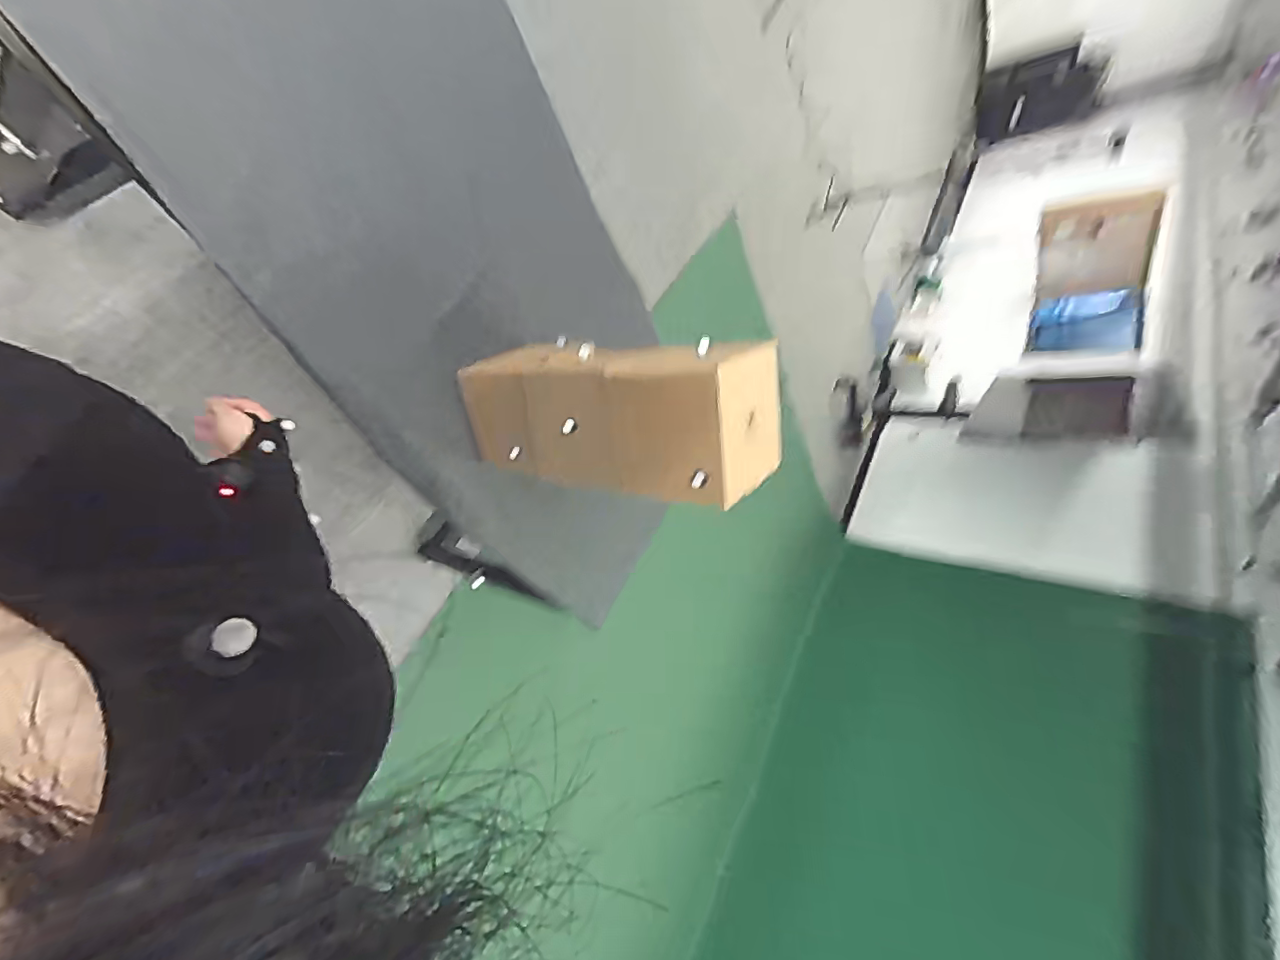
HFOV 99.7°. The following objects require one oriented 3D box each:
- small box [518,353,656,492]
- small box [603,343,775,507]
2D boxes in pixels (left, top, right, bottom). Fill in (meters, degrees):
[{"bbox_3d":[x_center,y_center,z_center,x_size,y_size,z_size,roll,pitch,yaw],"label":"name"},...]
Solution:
[{"bbox_3d":[-0.061,-0.097,0.822,0.168,0.176,0.179,-27,117,-48],"label":"small box"},{"bbox_3d":[0.067,-0.081,0.723,0.168,0.176,0.179,-30,121,-47],"label":"small box"}]
